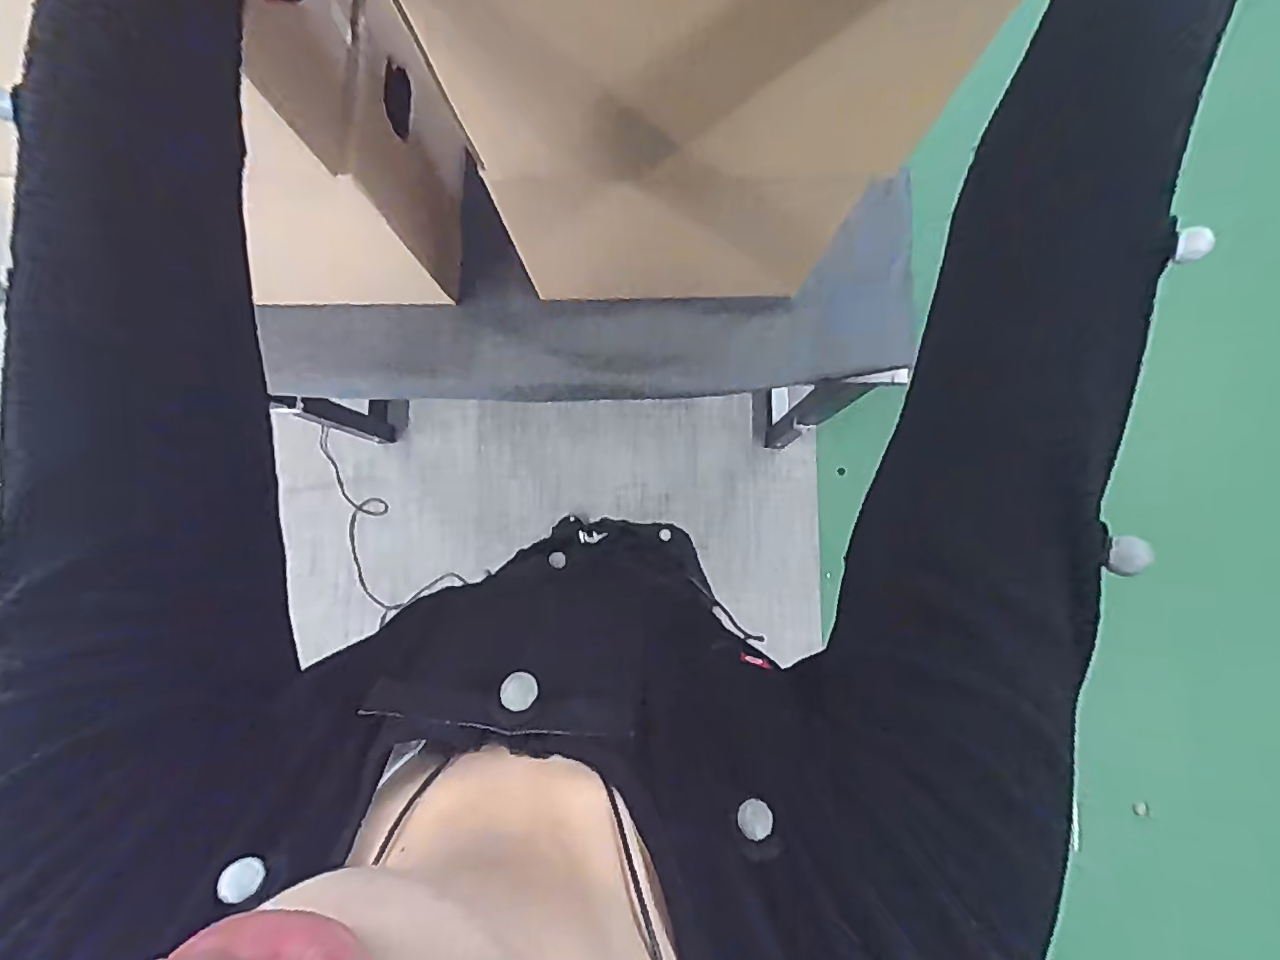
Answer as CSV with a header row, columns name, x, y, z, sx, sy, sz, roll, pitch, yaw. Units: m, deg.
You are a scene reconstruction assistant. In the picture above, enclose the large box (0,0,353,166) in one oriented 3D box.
name,x,y,z,sx,sy,sz,roll,pitch,yaw
large box,-0.491,-0.475,0.403,0.408,0.320,0.320,1,86,-1
